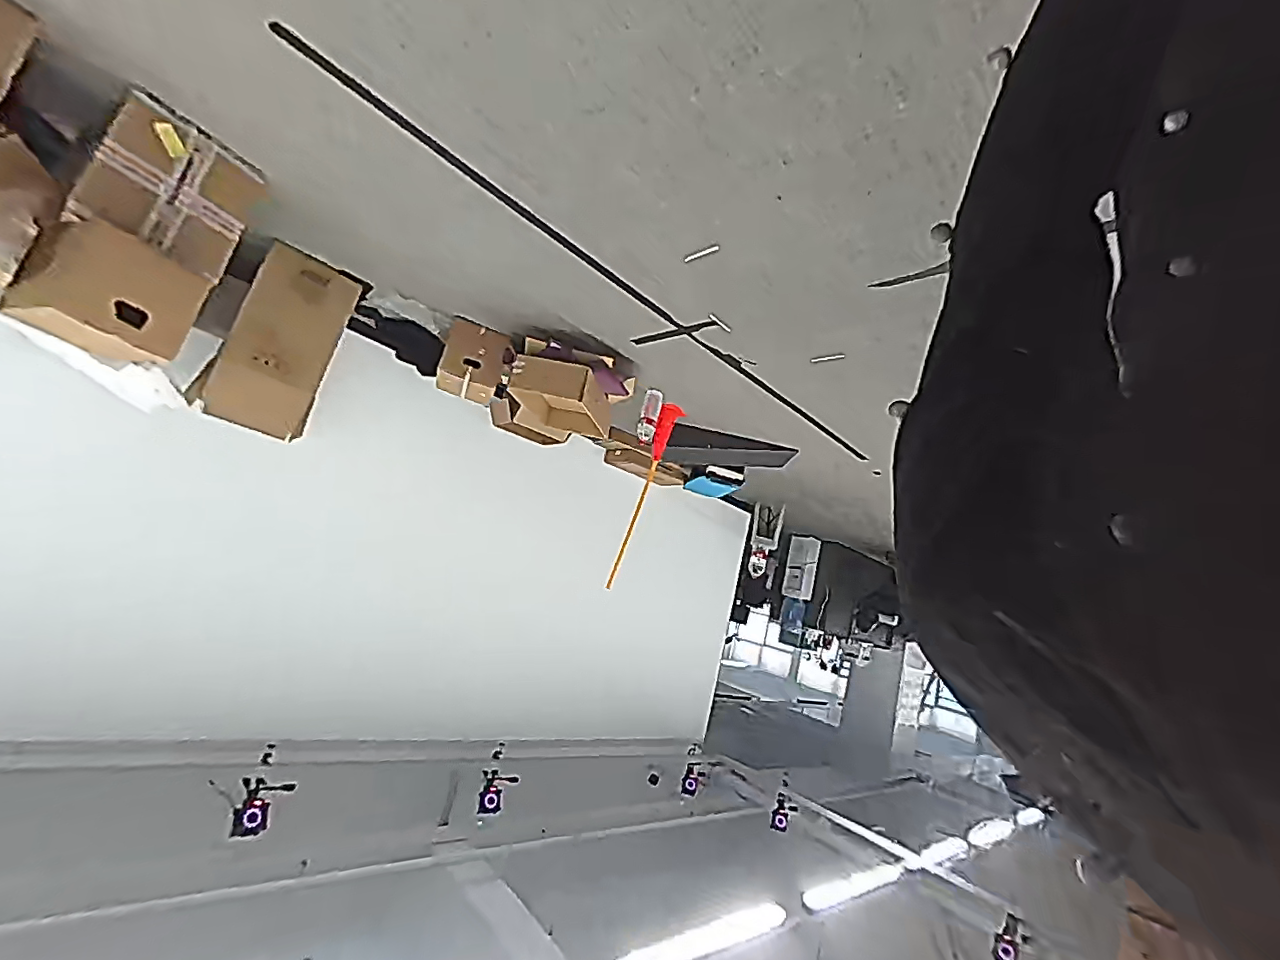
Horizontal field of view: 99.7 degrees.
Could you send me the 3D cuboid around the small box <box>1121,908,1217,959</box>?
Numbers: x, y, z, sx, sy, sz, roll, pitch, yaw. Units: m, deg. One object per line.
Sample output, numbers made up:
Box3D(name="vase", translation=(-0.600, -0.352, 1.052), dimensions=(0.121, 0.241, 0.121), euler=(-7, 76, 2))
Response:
Box3D(name="small box", translation=(1.362, 1.240, 1.392), dimensions=(0.179, 0.176, 0.168), euler=(21, 168, -38))
